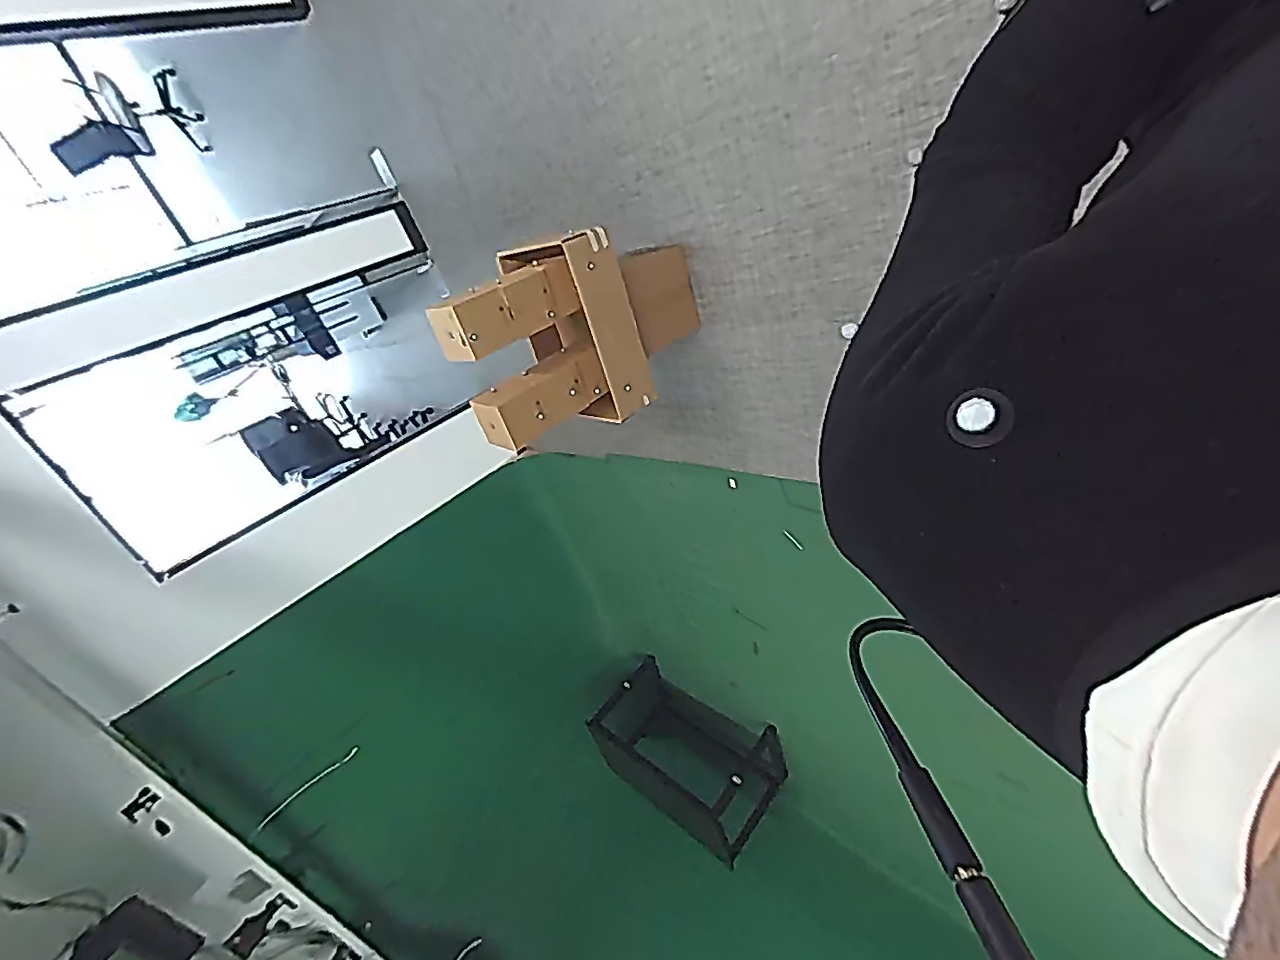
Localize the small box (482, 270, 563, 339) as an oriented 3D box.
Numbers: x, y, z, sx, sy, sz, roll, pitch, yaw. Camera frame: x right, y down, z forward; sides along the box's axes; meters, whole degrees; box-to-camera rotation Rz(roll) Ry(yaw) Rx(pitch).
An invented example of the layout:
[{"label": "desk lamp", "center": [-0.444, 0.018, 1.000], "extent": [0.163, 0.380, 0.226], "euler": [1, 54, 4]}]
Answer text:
[{"label": "small box", "center": [-0.367, -0.563, 1.731], "extent": [0.179, 0.176, 0.168], "euler": [17, 134, 43]}]

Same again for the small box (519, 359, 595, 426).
[{"label": "small box", "center": [-0.285, -0.310, 1.882], "extent": [0.179, 0.176, 0.168], "euler": [17, 136, 43]}]

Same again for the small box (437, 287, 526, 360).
[{"label": "small box", "center": [-0.480, -0.477, 1.649], "extent": [0.179, 0.176, 0.168], "euler": [13, 132, 45]}]

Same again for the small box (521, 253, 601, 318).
[{"label": "small box", "center": [-0.262, -0.653, 1.821], "extent": [0.179, 0.176, 0.168], "euler": [14, 132, 44]}]

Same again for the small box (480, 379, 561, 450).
[{"label": "small box", "center": [-0.394, -0.224, 1.796], "extent": [0.179, 0.176, 0.168], "euler": [17, 135, 43]}]
